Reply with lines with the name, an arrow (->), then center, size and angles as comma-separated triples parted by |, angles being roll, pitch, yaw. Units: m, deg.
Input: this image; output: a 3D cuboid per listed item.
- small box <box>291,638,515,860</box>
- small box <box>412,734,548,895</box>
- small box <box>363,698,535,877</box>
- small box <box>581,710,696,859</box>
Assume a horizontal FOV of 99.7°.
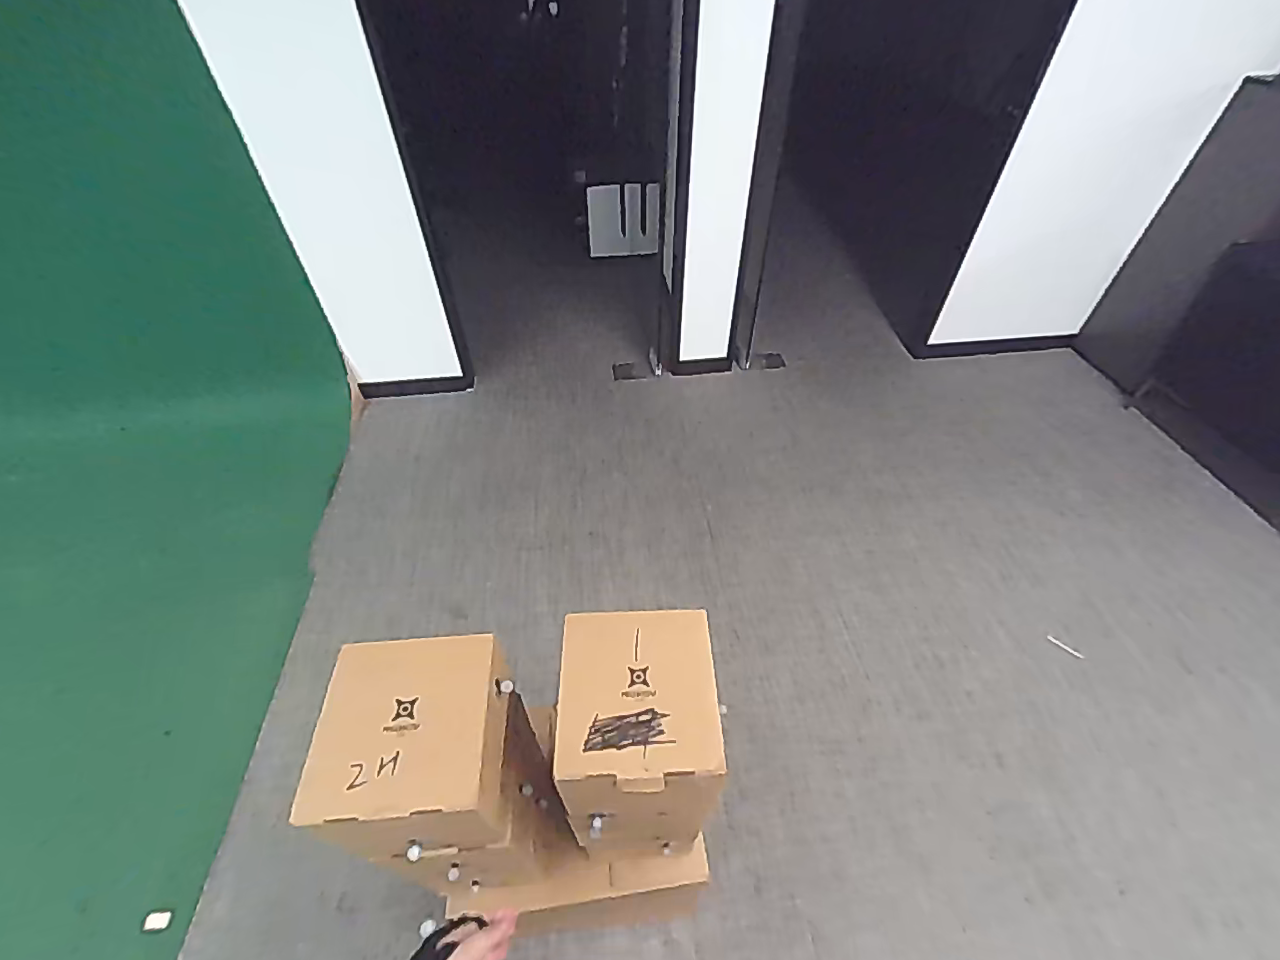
small box -> -0.238, 0.297, 0.600 | 0.168, 0.176, 0.179 | -3, 48, -3
small box -> -0.237, 0.520, 0.843 | 0.168, 0.176, 0.179 | -4, 48, -5
small box -> -0.235, 0.412, 0.719 | 0.168, 0.176, 0.179 | -3, 48, -4
small box -> -0.002, 0.491, 0.866 | 0.168, 0.176, 0.179 | -3, 46, -1
